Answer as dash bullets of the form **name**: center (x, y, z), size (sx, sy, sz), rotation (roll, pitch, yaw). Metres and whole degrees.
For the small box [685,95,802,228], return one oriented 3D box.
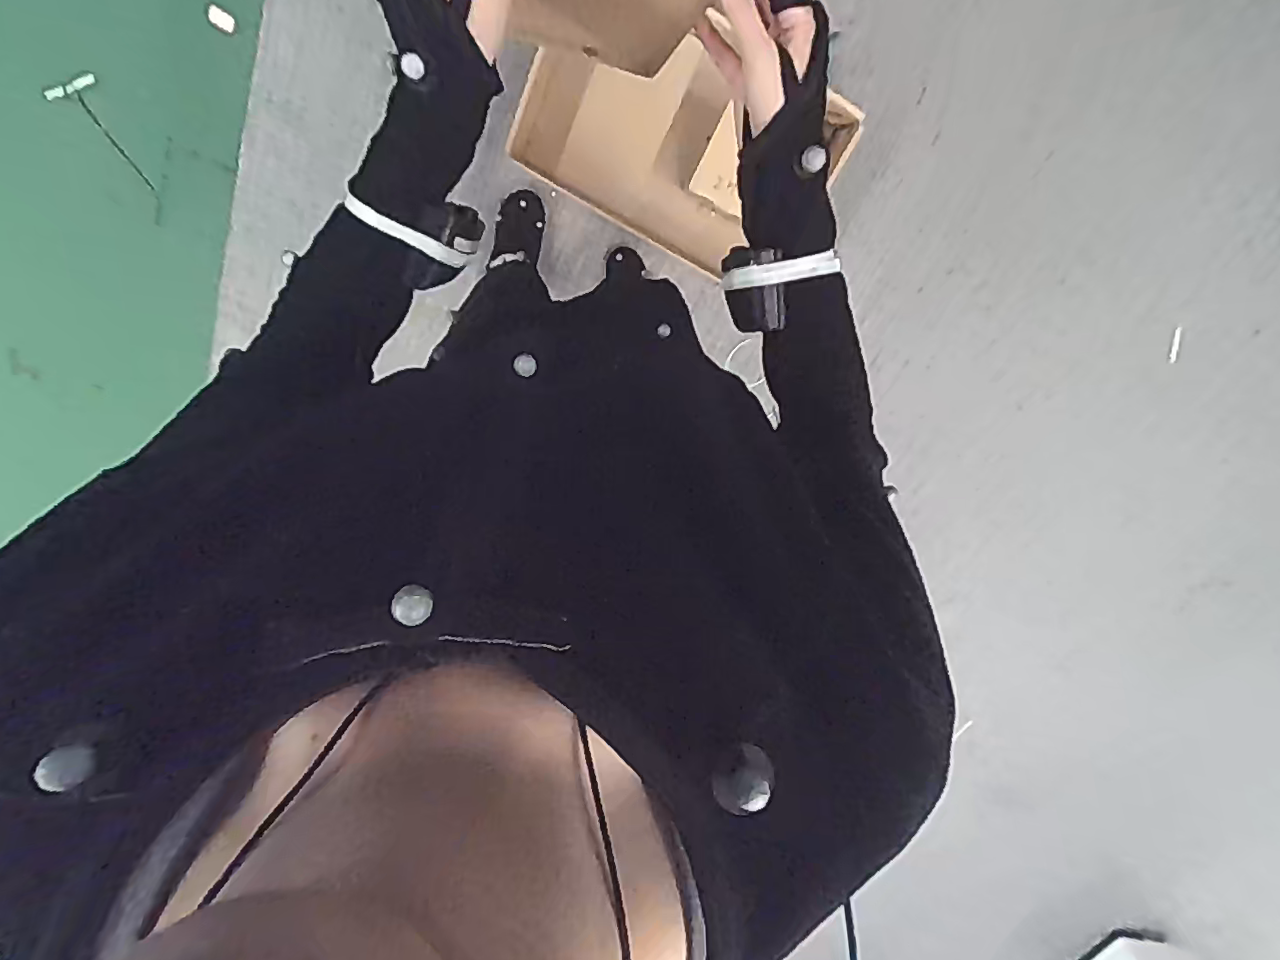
- **small box**: center (0.203, -0.654, 1.130), size (0.168, 0.176, 0.179), rotation (26, 113, -11)
